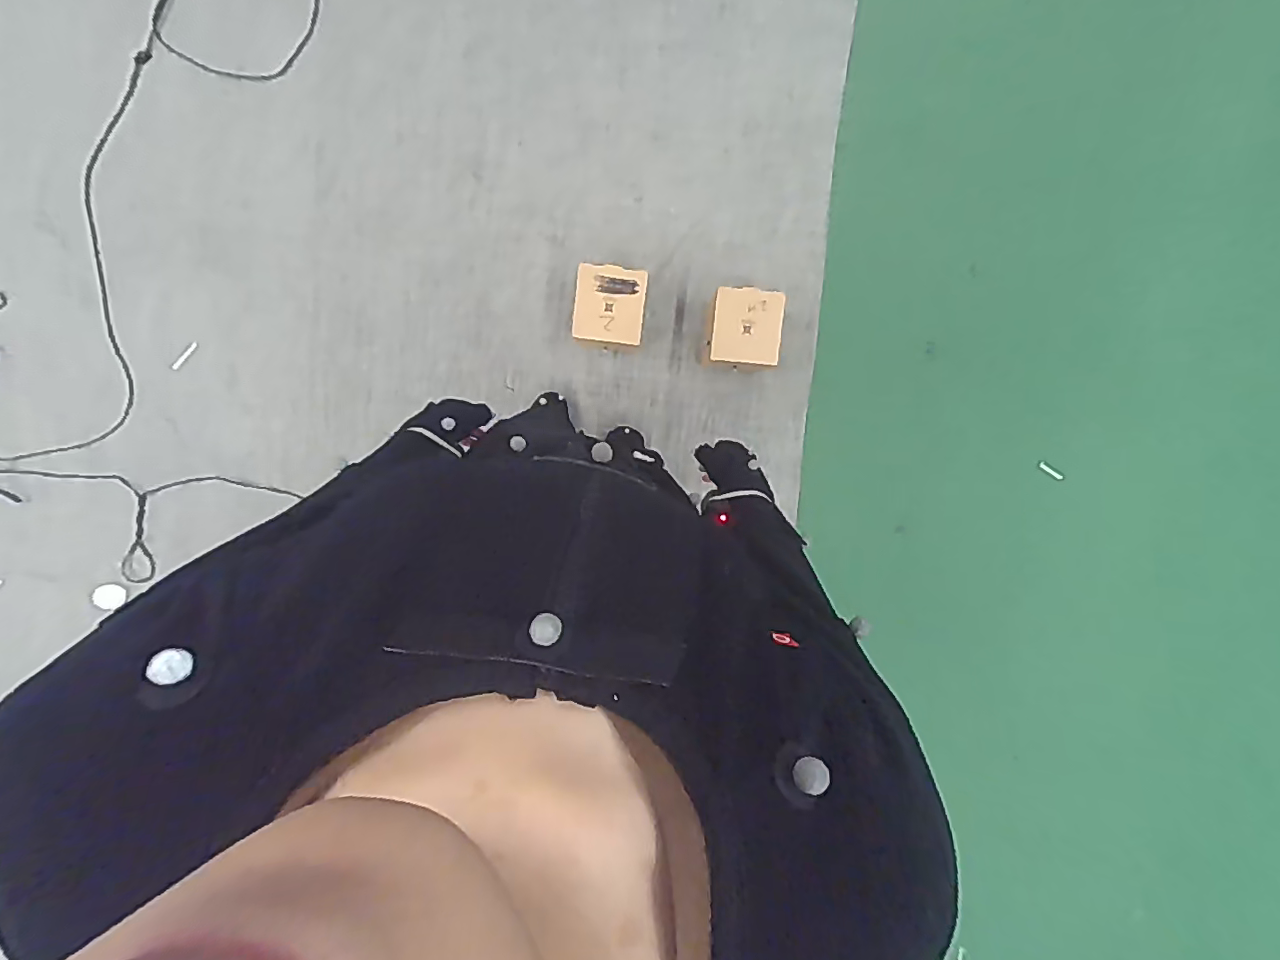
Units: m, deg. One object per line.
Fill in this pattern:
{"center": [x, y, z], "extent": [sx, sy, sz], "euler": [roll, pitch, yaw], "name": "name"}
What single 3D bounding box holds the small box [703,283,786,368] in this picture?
{"center": [0.254, -0.379, 1.355], "extent": [0.168, 0.176, 0.179], "euler": [5, 96, -2], "name": "small box"}
